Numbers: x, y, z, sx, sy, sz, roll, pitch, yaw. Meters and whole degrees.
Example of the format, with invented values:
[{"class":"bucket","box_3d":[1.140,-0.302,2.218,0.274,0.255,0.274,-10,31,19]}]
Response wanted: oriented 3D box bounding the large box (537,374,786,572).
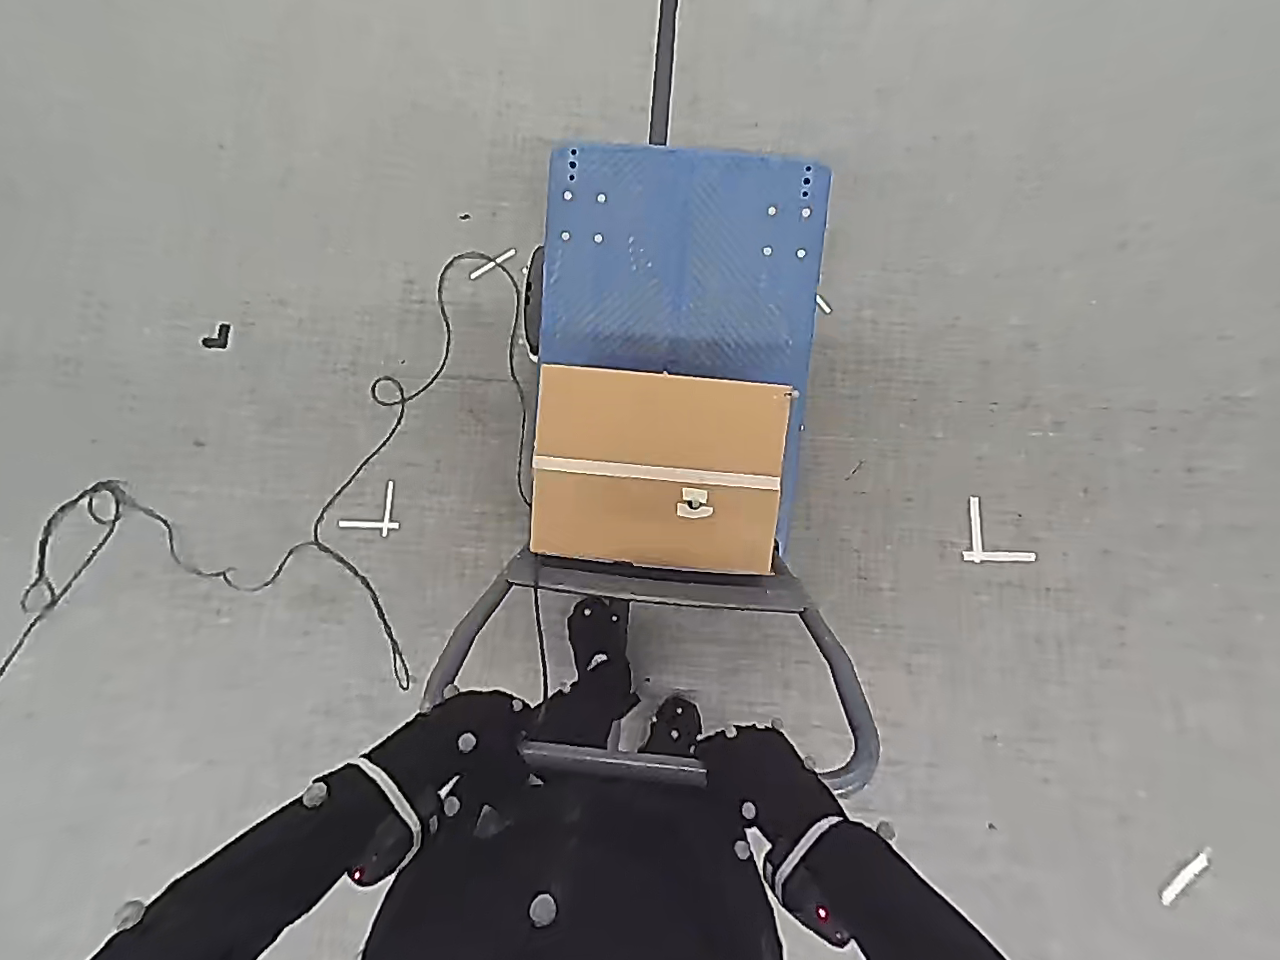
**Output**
[{"class":"large box","box_3d":[0.033,-0.026,1.052,0.408,0.320,0.320,5,98,1]}]
